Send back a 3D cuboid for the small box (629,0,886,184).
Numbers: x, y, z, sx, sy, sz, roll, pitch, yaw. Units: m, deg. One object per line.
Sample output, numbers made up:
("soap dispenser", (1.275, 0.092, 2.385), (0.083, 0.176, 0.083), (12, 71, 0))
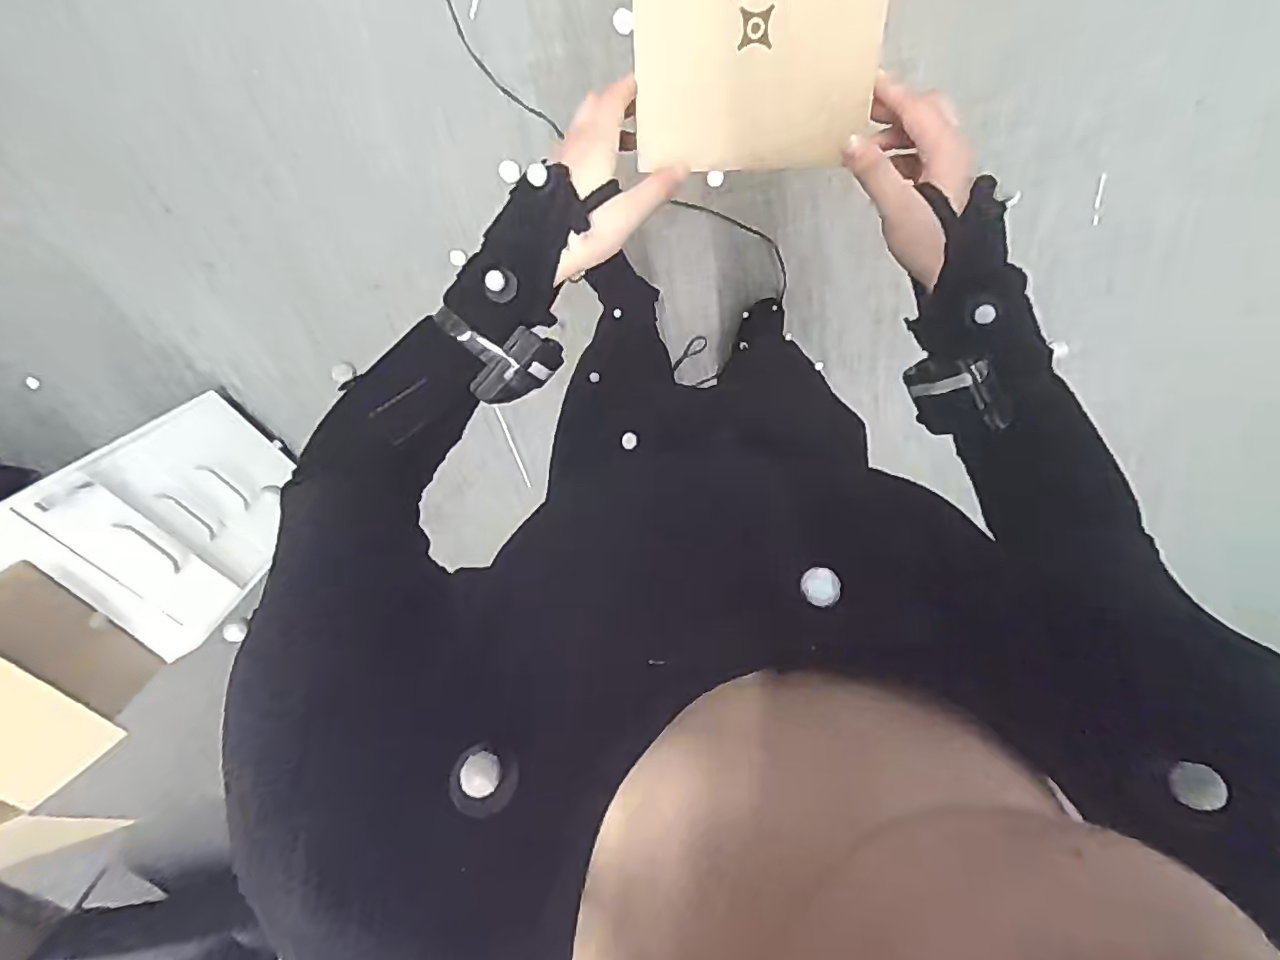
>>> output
("small box", (0.084, -0.338, 0.419), (0.168, 0.176, 0.179), (2, 122, 7))
